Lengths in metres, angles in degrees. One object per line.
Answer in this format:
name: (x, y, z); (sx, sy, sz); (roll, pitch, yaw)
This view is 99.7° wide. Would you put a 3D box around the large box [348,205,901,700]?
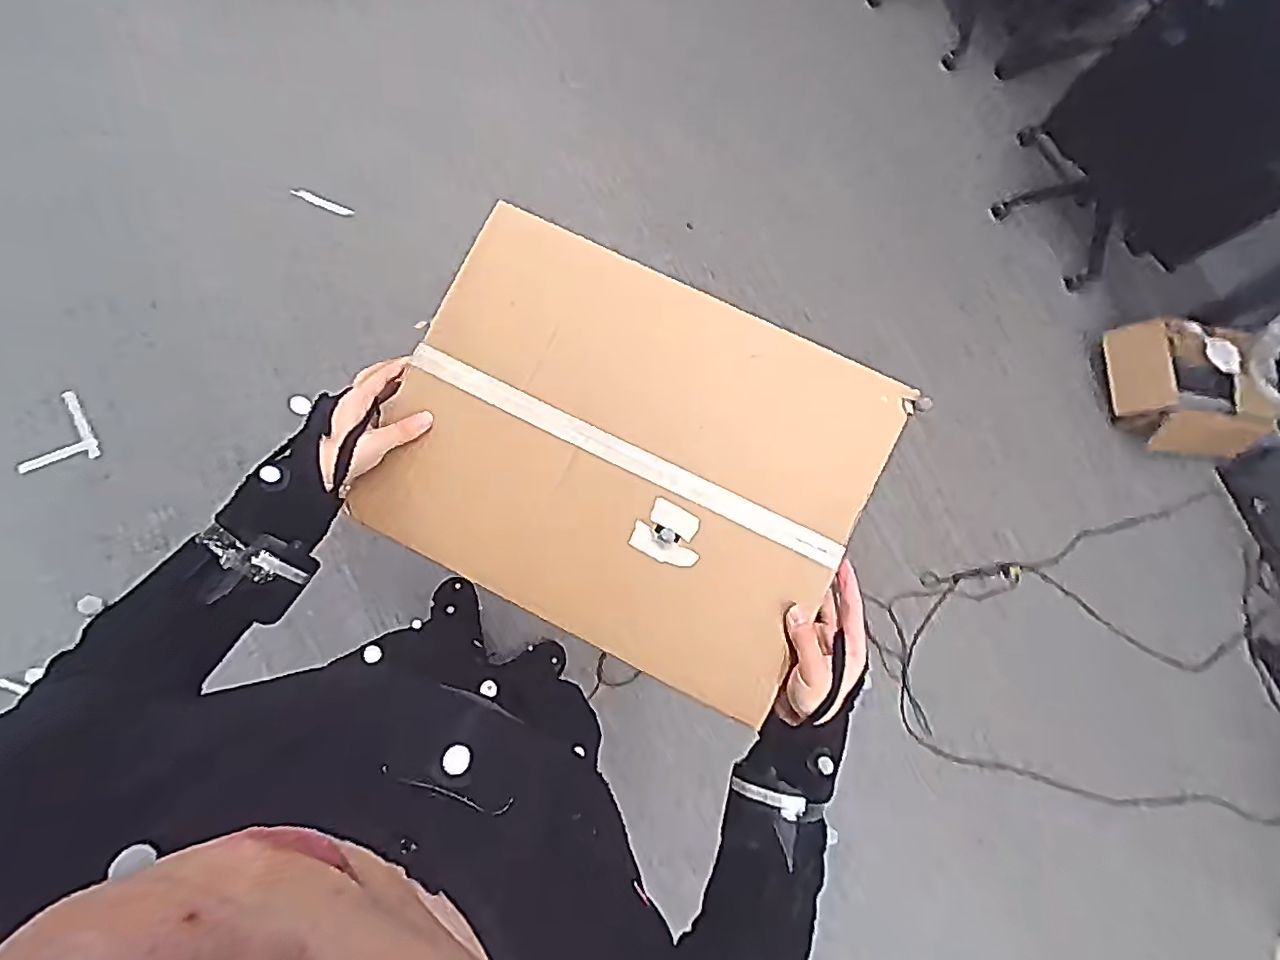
large box: (-0.013, -0.024, 0.616); (0.408, 0.320, 0.320); (25, 89, 4)
